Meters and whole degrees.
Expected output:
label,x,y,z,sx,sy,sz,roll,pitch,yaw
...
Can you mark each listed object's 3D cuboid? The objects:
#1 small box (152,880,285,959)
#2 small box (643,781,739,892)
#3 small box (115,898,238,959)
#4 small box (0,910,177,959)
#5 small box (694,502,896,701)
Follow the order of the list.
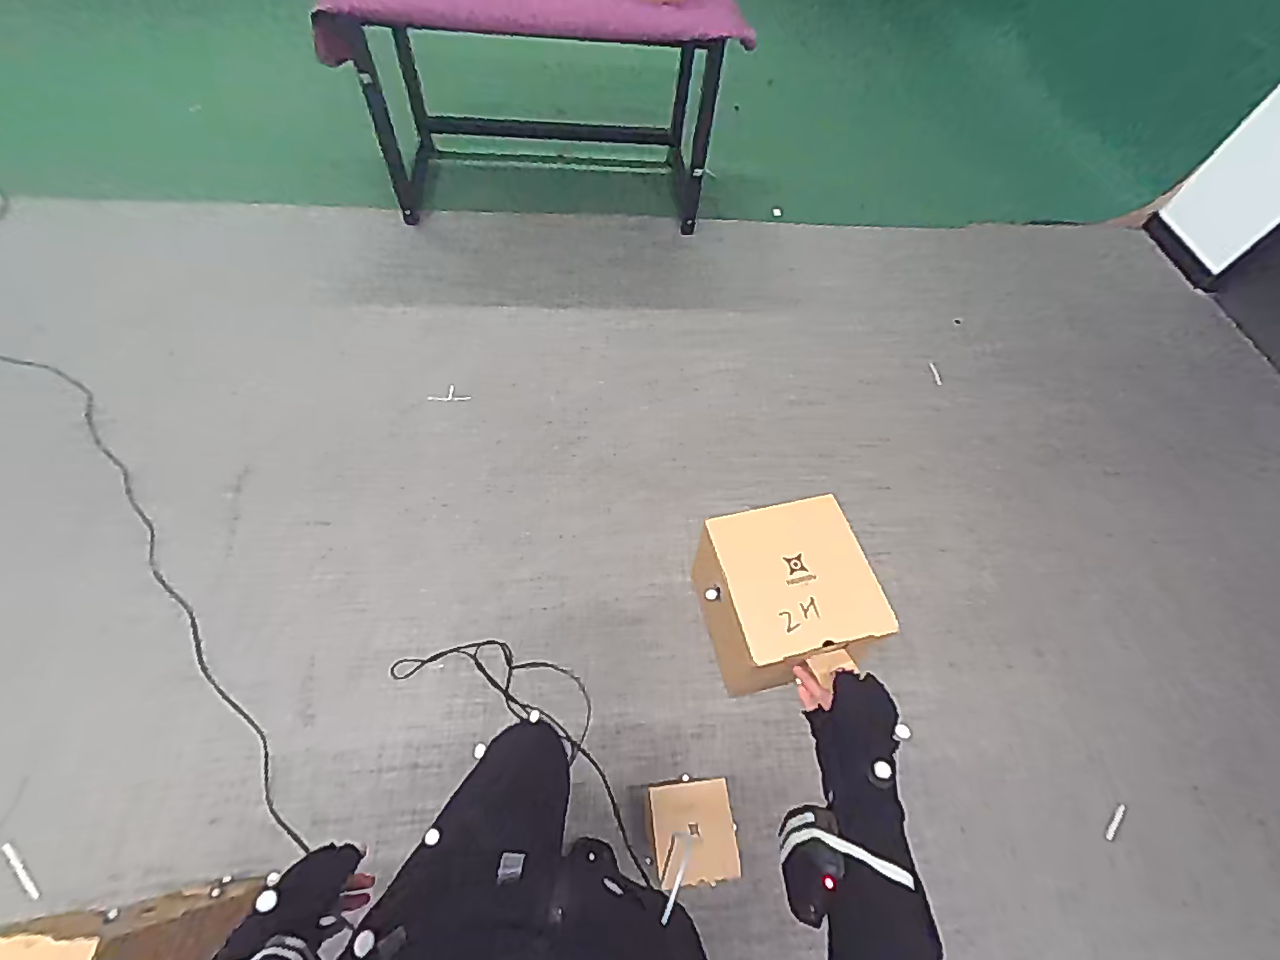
label,x,y,z,sx,sy,sz,roll,pitch,yaw
small box,-0.797,0.859,1.003,0.168,0.176,0.179,0,59,-5
small box,0.100,0.753,1.158,0.168,0.176,0.179,-3,60,-8
small box,-0.785,0.783,0.857,0.168,0.176,0.179,1,61,-5
small box,-0.780,0.700,0.717,0.168,0.176,0.179,5,59,-2
small box,0.172,0.154,0.671,0.168,0.176,0.179,-11,58,-8
